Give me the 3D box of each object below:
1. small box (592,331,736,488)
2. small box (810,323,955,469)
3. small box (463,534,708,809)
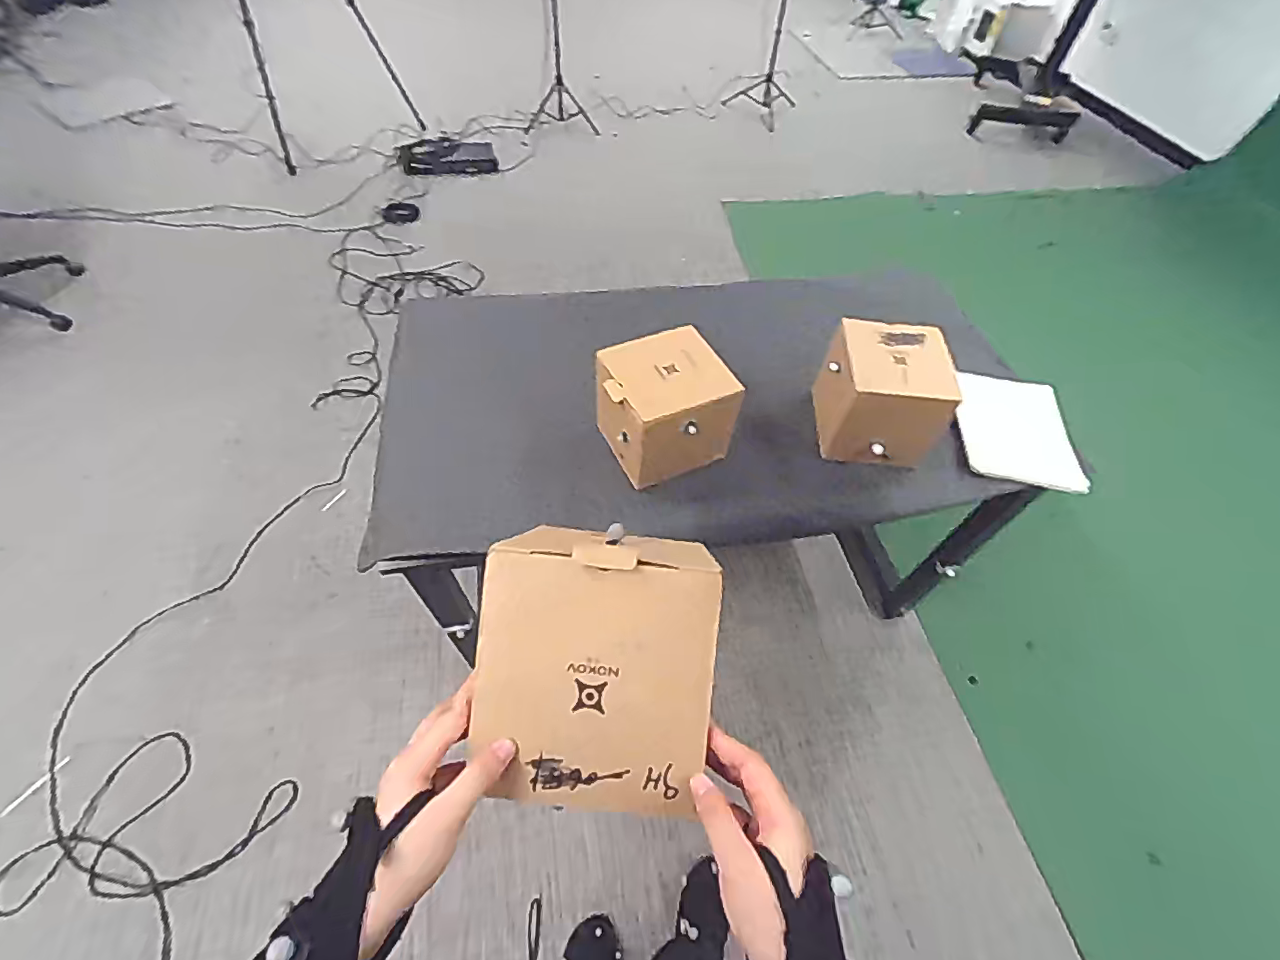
[{"bbox_3d":[0.032,-0.112,0.897,0.179,0.176,0.168,-21,58,-18],"label":"small box"},{"bbox_3d":[0.401,-0.143,0.933,0.168,0.176,0.179,5,54,2],"label":"small box"},{"bbox_3d":[-0.039,0.143,0.466,0.168,0.176,0.179,4,90,1],"label":"small box"}]
